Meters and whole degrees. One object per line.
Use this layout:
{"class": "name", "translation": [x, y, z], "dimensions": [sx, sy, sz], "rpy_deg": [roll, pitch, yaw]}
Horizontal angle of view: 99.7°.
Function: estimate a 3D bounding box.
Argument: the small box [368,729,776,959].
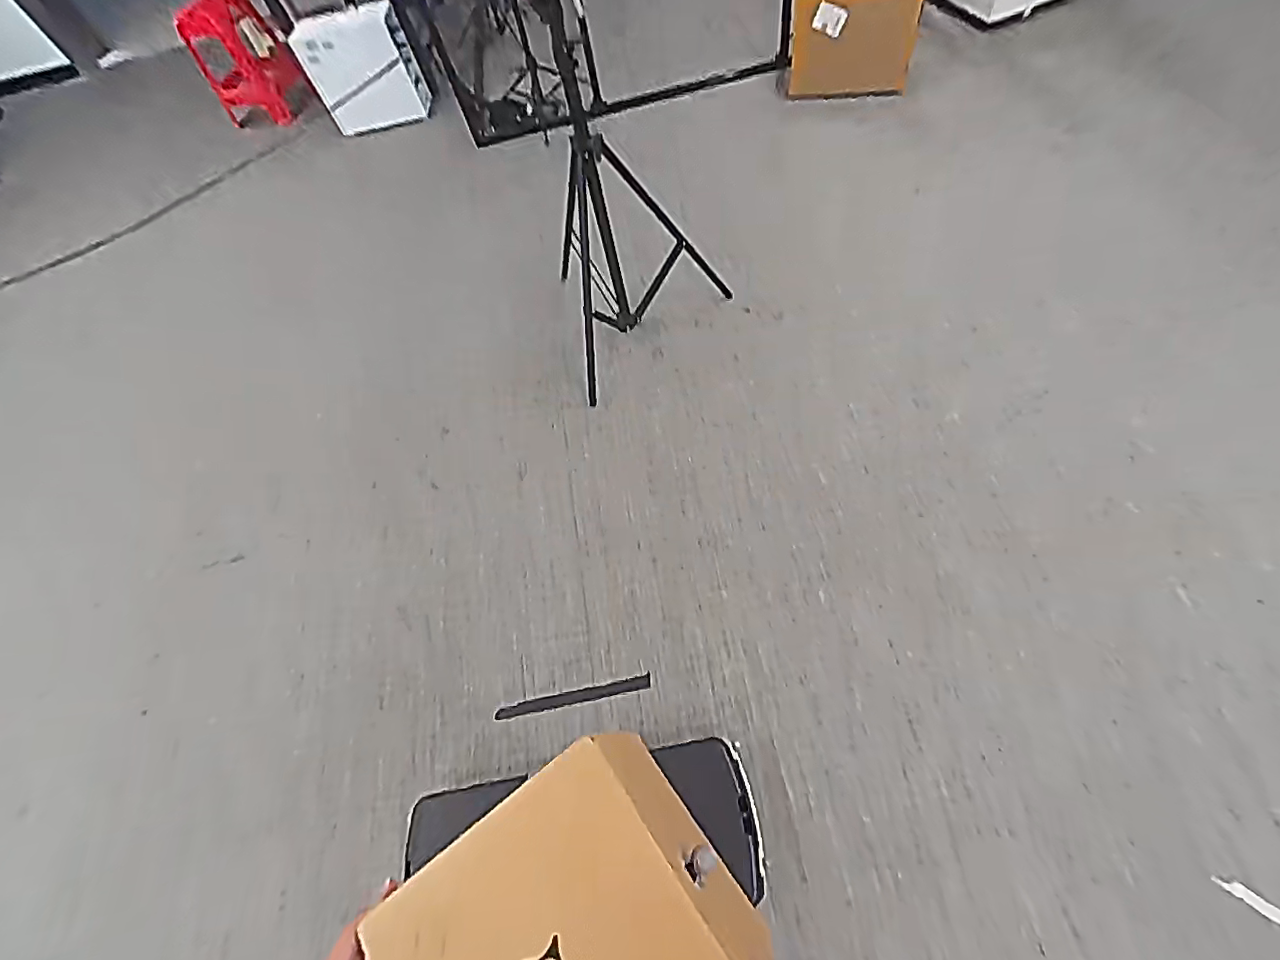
{"class": "small box", "translation": [-0.028, 0.291, 0.350], "dimensions": [0.168, 0.176, 0.179], "rpy_deg": [-37, 66, -9]}
